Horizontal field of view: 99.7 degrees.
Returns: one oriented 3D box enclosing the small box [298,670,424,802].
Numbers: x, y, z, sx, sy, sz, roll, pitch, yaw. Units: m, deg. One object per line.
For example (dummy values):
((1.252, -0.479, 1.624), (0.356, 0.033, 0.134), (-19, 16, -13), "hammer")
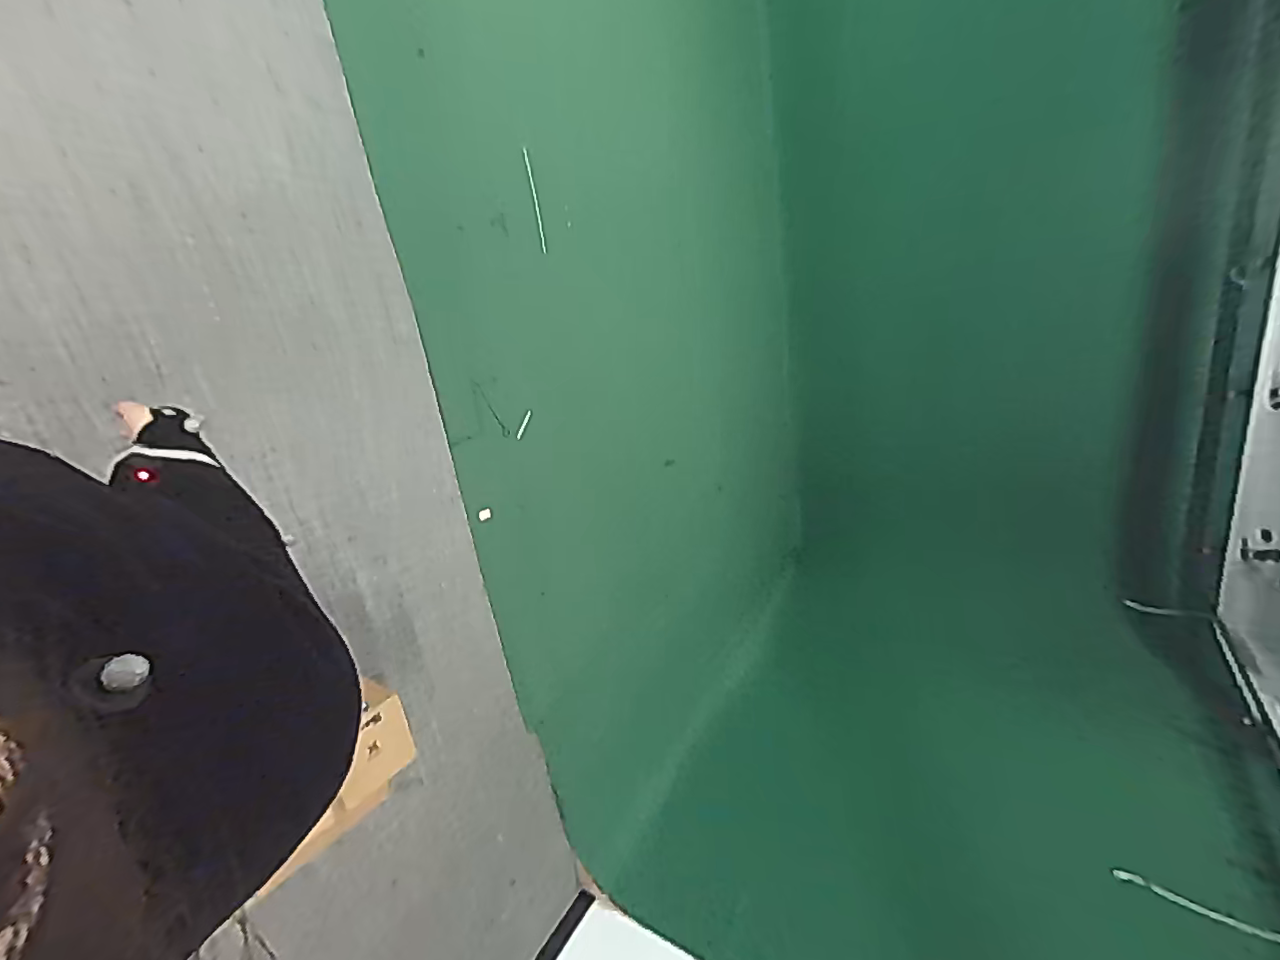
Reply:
((-0.611, 0.550, 1.188), (0.168, 0.176, 0.179), (-30, 118, -51), "small box")
